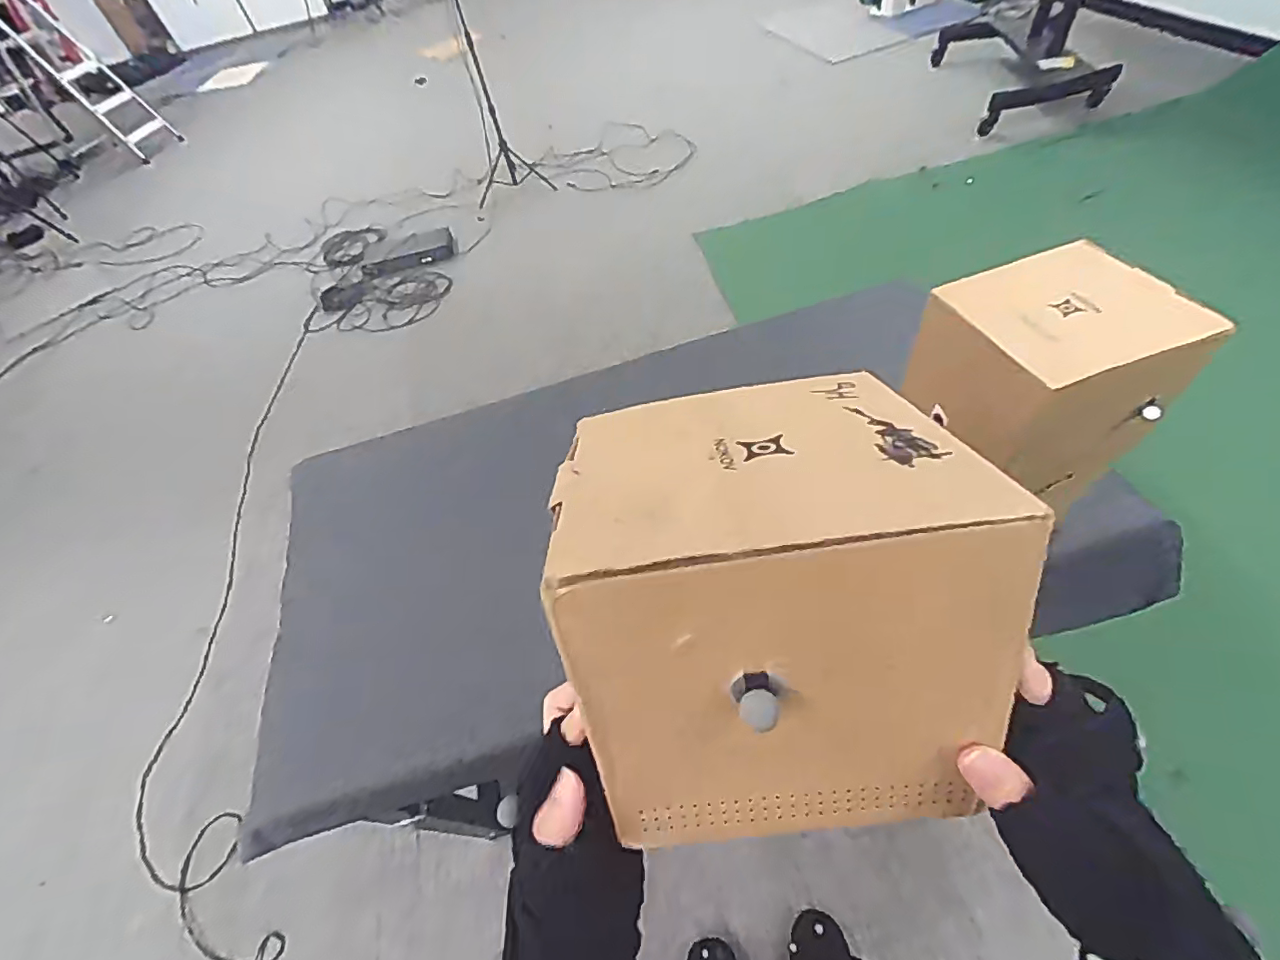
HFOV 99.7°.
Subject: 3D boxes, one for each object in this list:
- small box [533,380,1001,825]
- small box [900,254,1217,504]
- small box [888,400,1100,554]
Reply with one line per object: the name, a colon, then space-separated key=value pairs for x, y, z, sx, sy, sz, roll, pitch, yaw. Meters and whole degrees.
small box: x=0.059 y=0.061 z=0.301 sx=0.179 sy=0.176 sz=0.168 roll=-9 pitch=28 yaw=5
small box: x=0.410 y=-0.102 z=0.574 sx=0.179 sy=0.176 sz=0.168 roll=-20 pitch=50 yaw=-2
small box: x=0.434 y=-0.011 z=0.706 sx=0.168 sy=0.176 sz=0.179 roll=-21 pitch=51 yaw=-5
